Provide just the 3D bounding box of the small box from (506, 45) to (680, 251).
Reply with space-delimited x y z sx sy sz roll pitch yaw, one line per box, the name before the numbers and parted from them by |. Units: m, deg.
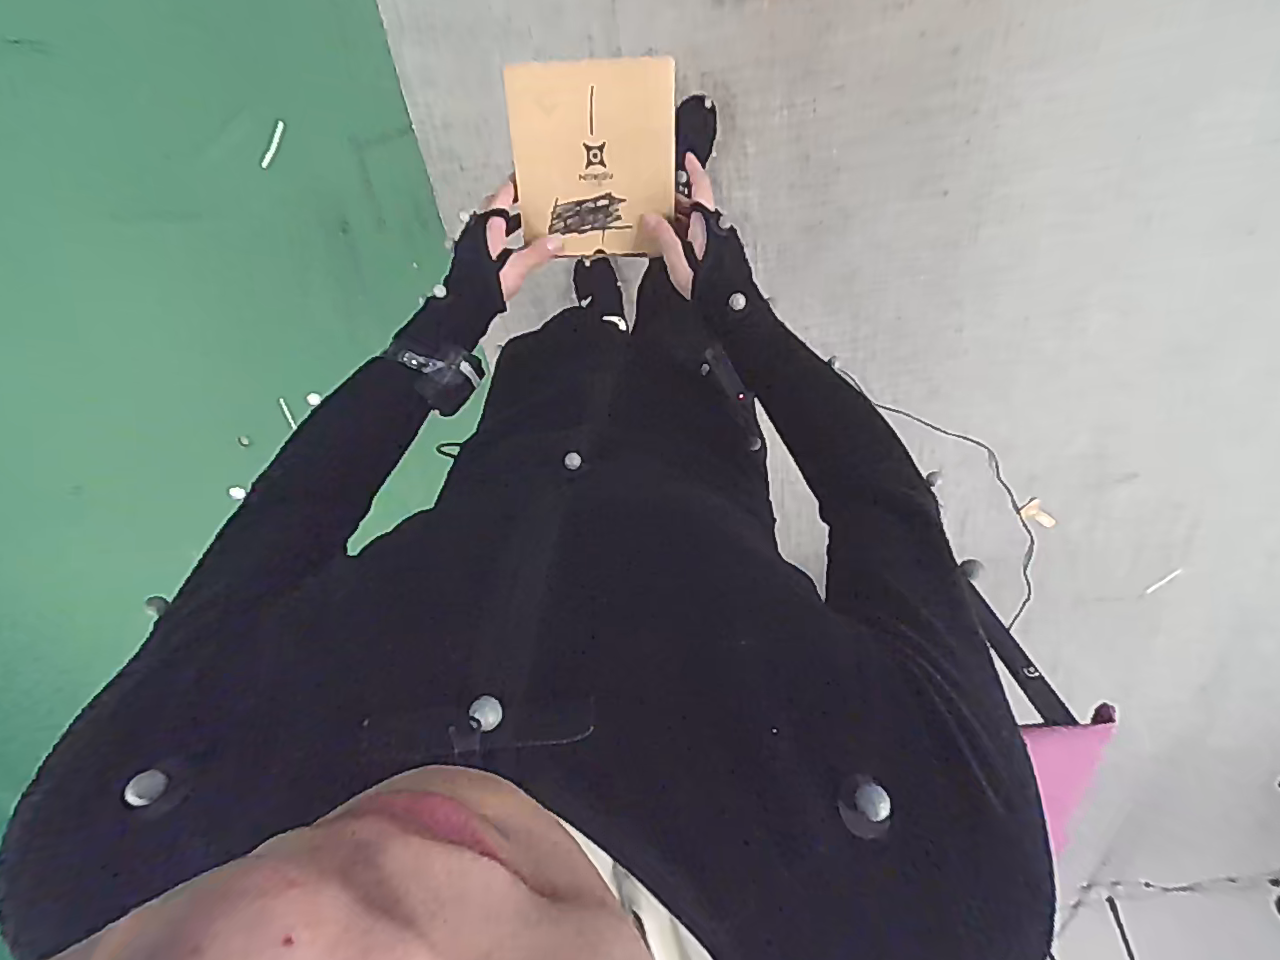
small box | -0.041 -0.363 0.610 0.168 0.176 0.179 -1 118 1
